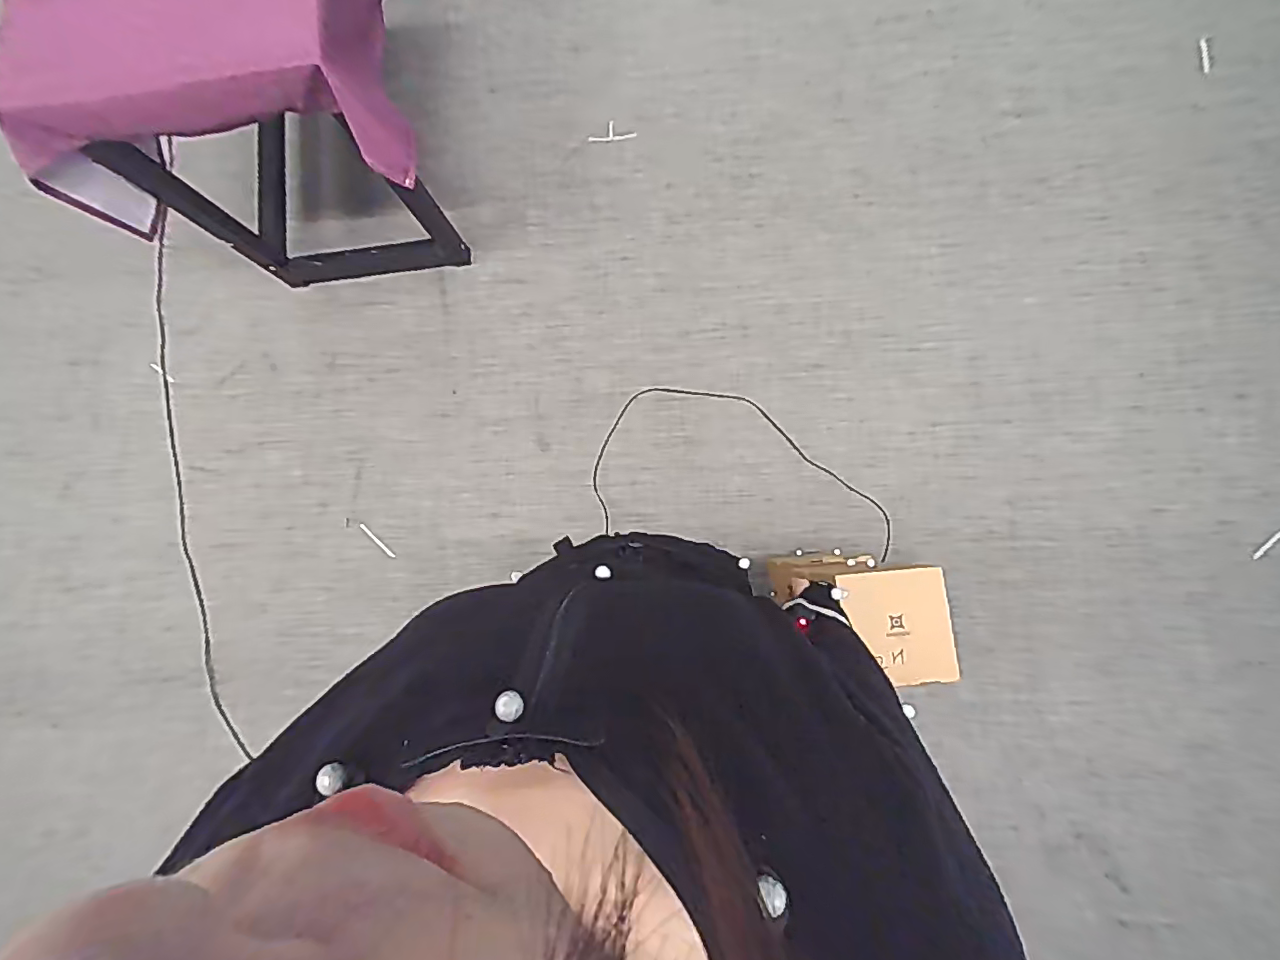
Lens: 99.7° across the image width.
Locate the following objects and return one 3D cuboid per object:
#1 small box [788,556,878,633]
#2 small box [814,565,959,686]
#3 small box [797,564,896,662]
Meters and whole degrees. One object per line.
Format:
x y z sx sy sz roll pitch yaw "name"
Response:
0.441 0.266 1.232 0.168 0.176 0.179 -6 84 4 "small box"
0.400 0.234 0.908 0.168 0.176 0.179 -5 83 4 "small box"
0.416 0.256 1.071 0.179 0.176 0.168 -6 83 3 "small box"
